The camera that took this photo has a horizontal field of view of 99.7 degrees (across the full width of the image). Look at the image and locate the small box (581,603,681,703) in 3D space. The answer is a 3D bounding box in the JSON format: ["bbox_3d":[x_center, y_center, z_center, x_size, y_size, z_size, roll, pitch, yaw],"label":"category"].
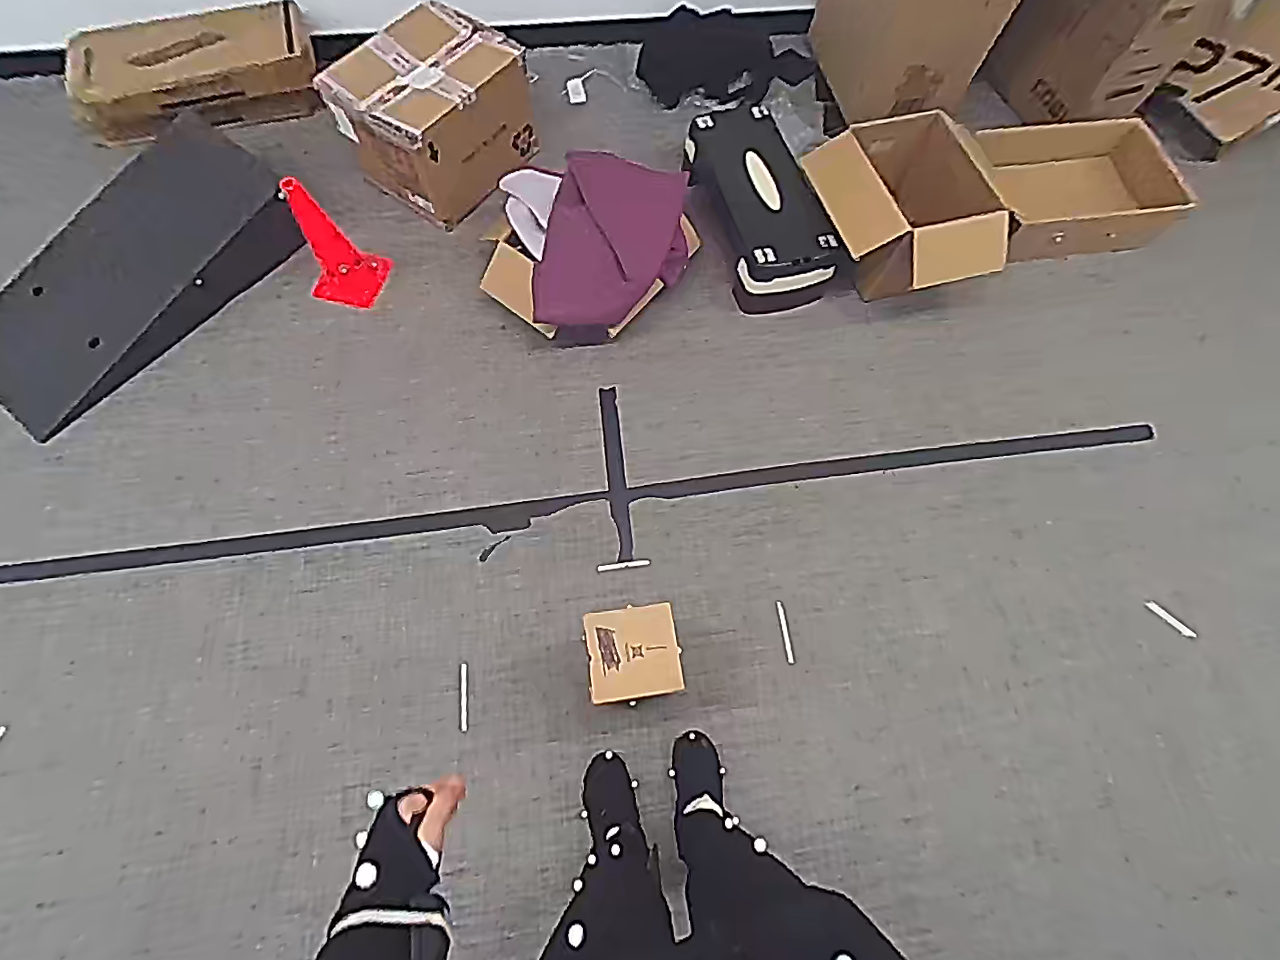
[{"bbox_3d":[-0.020,0.354,1.096,0.179,0.176,0.168,-7,70,-4],"label":"small box"}]
